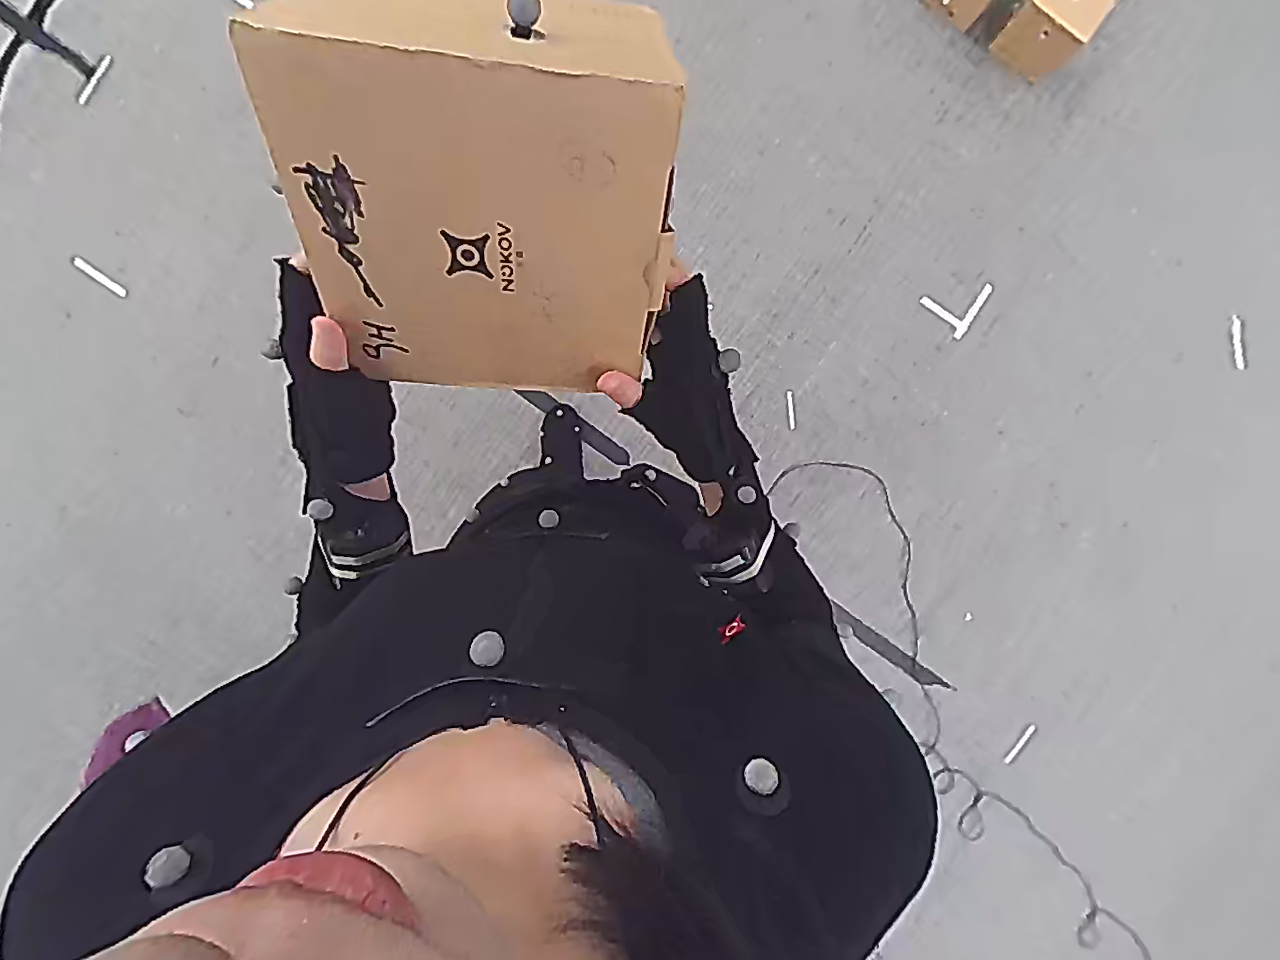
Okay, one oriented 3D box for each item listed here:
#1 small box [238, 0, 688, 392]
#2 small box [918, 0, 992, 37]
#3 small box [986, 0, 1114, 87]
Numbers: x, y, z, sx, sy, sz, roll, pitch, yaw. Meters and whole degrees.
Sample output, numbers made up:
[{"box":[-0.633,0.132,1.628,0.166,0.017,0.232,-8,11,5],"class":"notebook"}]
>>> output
[{"box":[-0.082,-0.173,0.322,0.179,0.176,0.168,3,138,-9],"class":"small box"},{"box":[0.861,-1.315,1.388,0.168,0.176,0.179,37,93,-4],"class":"small box"},{"box":[1.058,-1.182,1.407,0.179,0.176,0.168,33,93,-5],"class":"small box"}]
